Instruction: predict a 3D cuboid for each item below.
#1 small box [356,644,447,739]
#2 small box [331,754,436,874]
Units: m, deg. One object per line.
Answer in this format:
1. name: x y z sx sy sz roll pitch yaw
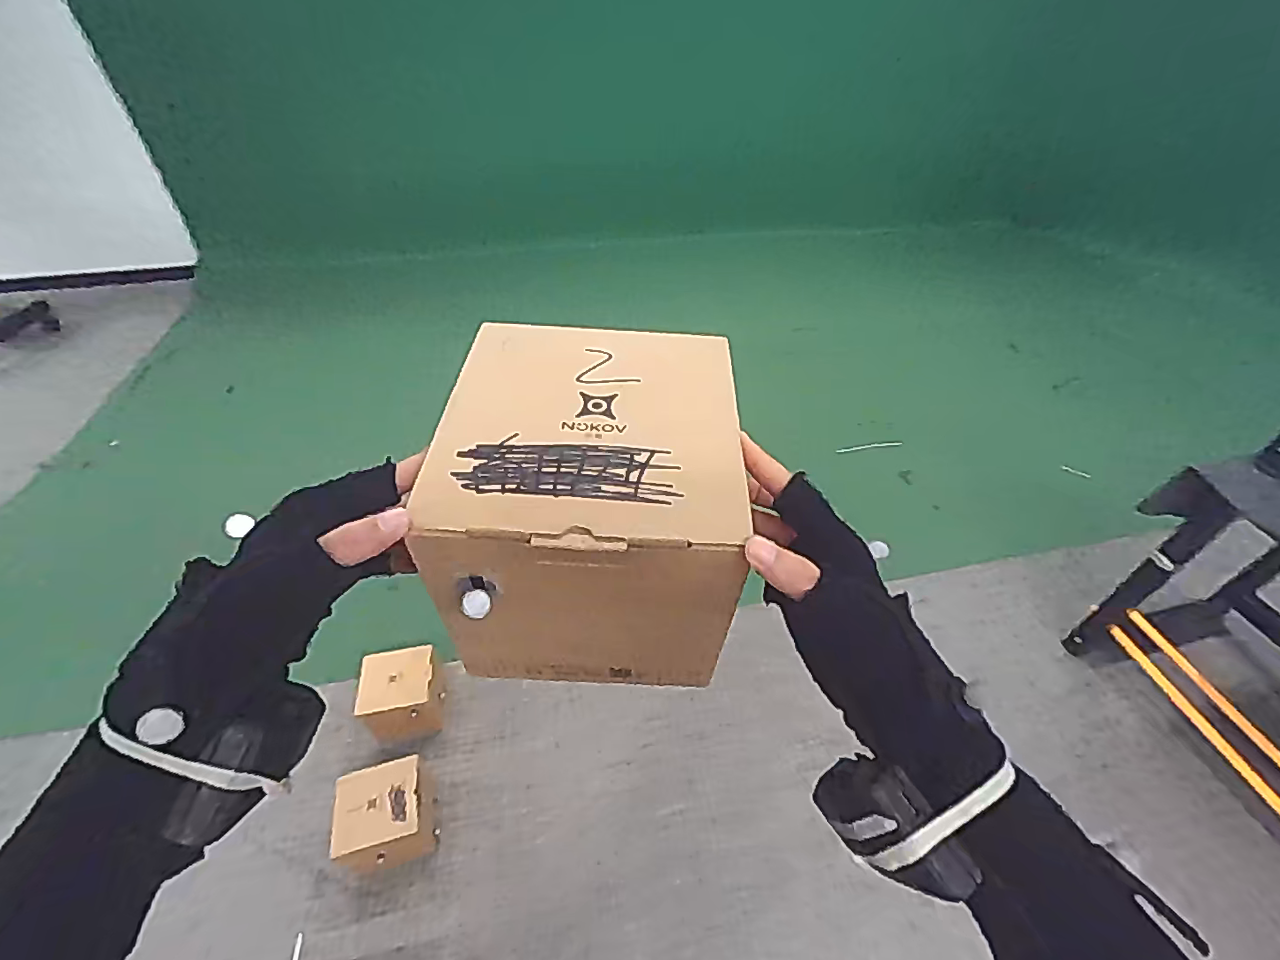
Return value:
1. small box: -0.627 0.566 1.441 0.179 0.176 0.168 -8 44 -10
2. small box: -0.570 0.760 1.230 0.179 0.176 0.168 -11 44 -12
